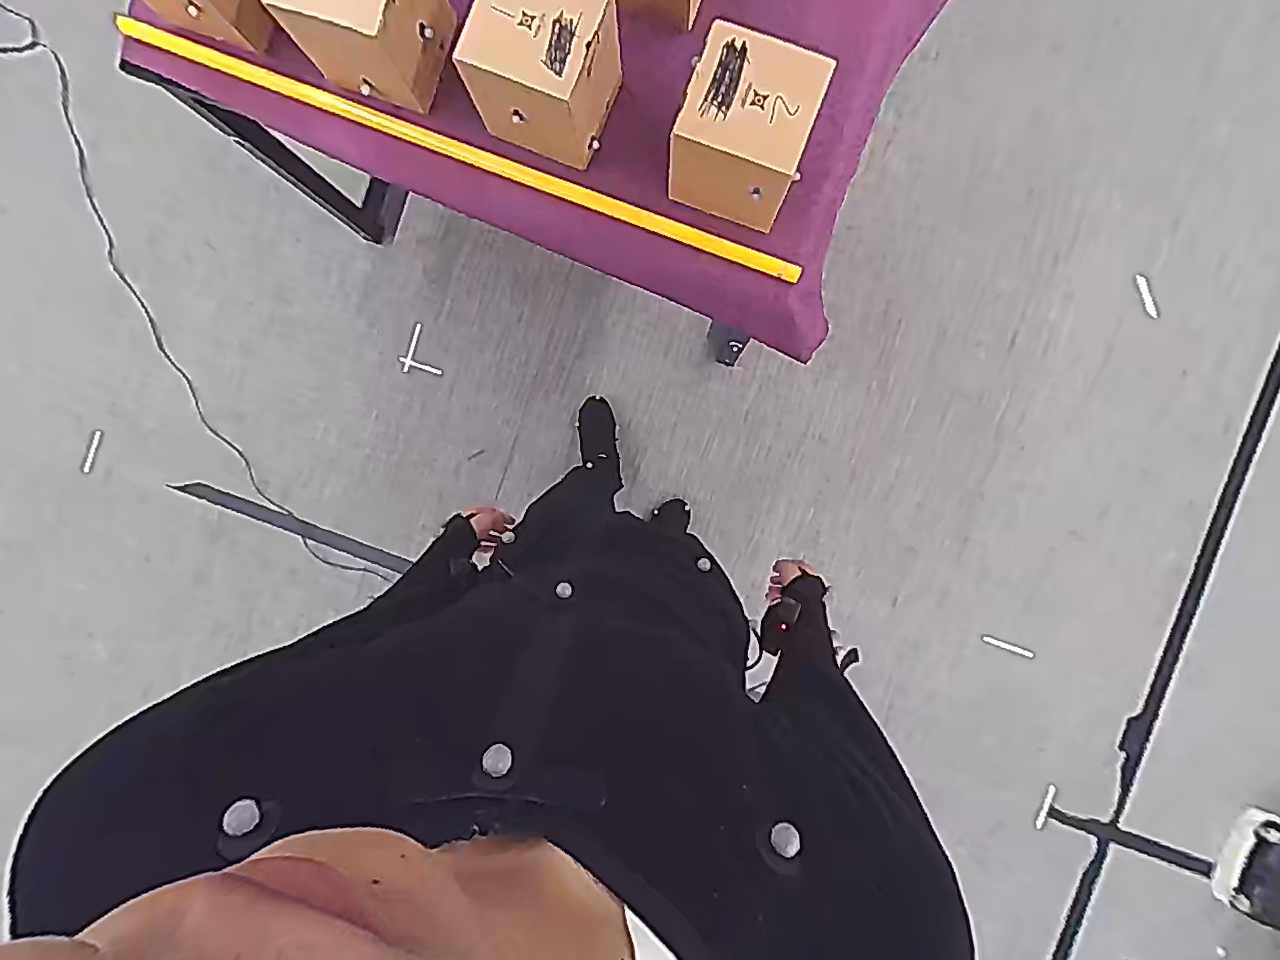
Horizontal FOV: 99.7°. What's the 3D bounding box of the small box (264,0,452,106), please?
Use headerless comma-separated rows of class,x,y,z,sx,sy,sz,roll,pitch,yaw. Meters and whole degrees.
small box,-0.412,-0.714,0.819,0.179,0.176,0.168,19,92,1

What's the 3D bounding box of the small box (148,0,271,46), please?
small box,-0.688,-0.819,0.825,0.179,0.176,0.168,19,92,-1

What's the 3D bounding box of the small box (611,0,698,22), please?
small box,0.026,-0.835,0.797,0.179,0.176,0.168,21,93,3

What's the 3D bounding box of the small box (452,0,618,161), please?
small box,-0.143,-0.619,0.810,0.179,0.176,0.168,23,91,3
